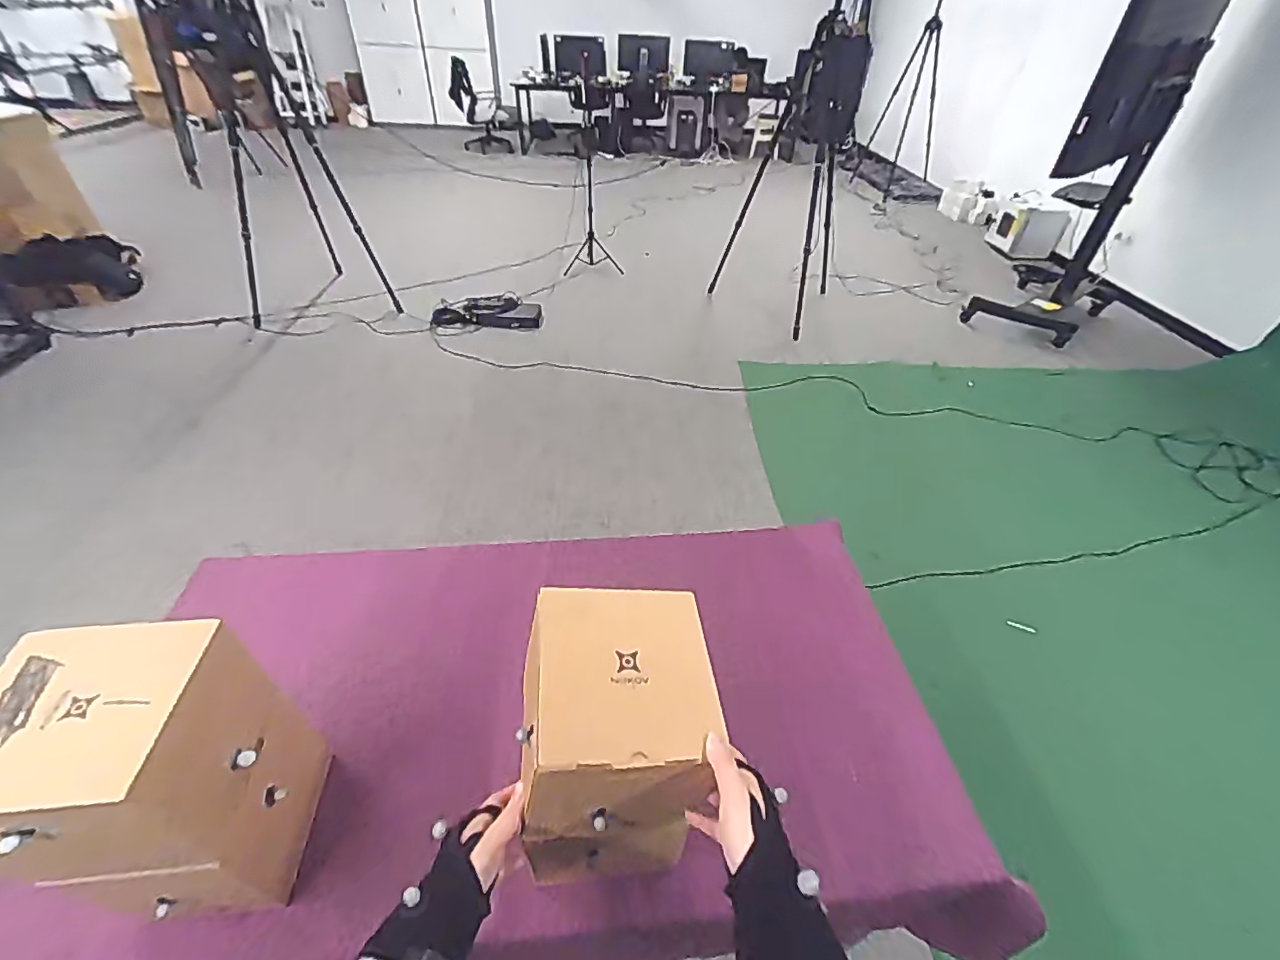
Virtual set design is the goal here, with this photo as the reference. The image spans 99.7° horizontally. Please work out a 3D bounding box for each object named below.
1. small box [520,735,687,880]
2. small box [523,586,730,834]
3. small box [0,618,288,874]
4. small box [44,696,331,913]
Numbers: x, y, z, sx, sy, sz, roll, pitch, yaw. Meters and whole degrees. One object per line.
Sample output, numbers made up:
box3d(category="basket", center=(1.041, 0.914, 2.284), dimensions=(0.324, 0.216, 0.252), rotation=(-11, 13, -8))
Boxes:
box3d(category="small box", center=(-0.045, 0.365, 0.663), dimensions=(0.179, 0.176, 0.168), rotation=(-4, 42, -6))
box3d(category="small box", center=(-0.029, 0.230, 0.551), dimensions=(0.168, 0.176, 0.179), rotation=(4, 42, -14))
box3d(category="small box", center=(-0.488, 0.255, 0.520), dimensions=(0.179, 0.176, 0.168), rotation=(-2, 42, -6))
box3d(category="small box", center=(-0.491, 0.378, 0.629), dimensions=(0.168, 0.176, 0.179), rotation=(-2, 41, -6))
